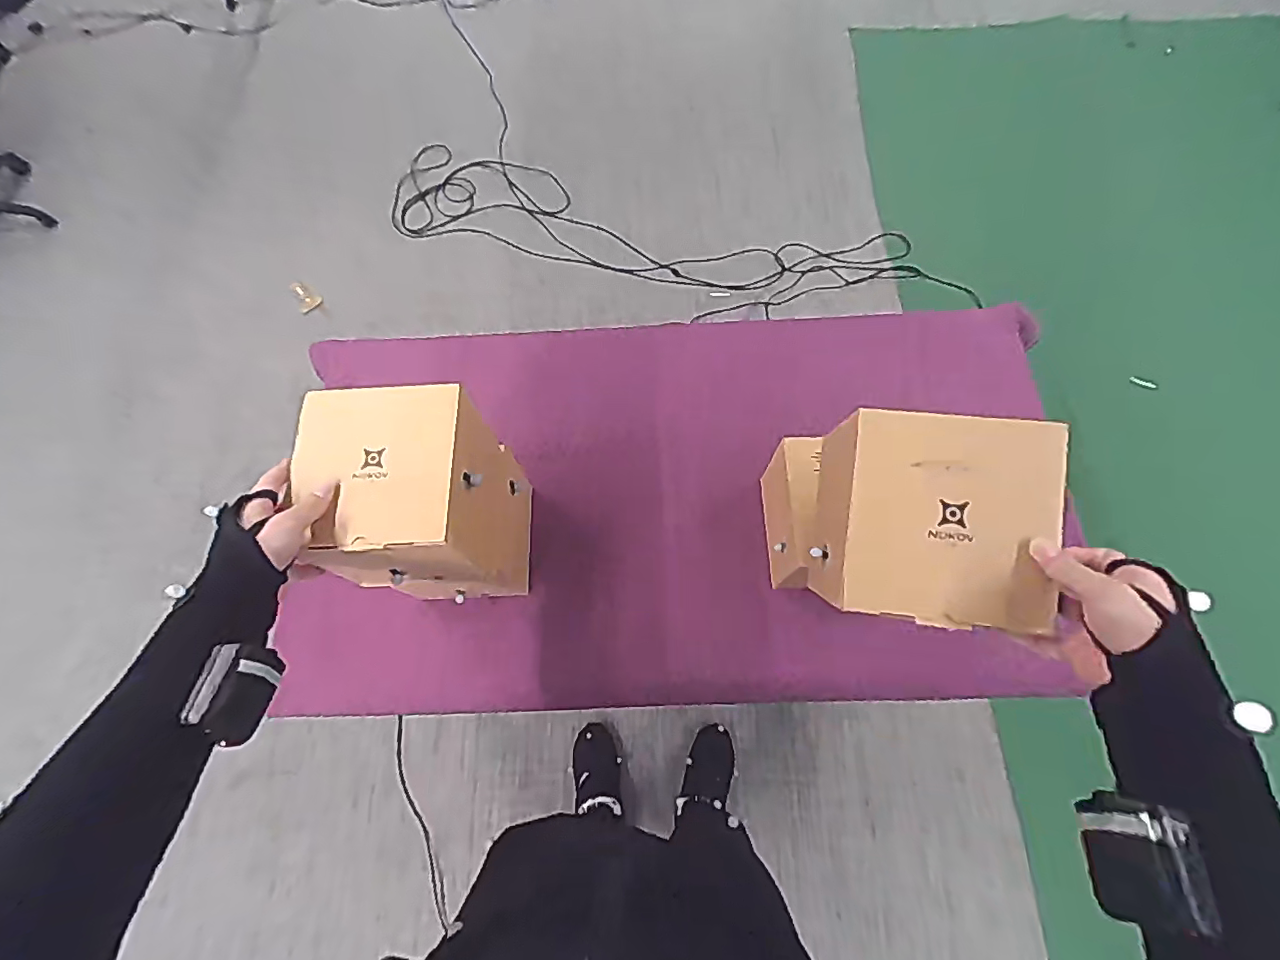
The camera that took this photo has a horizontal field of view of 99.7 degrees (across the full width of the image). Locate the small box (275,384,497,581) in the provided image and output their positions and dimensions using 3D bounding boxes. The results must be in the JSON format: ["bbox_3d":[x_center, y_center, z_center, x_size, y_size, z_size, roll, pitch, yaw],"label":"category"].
[{"bbox_3d":[-0.268,0.010,0.619,0.168,0.176,0.179,-3,69,1],"label":"small box"}]

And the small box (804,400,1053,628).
[{"bbox_3d":[0.261,0.031,0.530,0.168,0.176,0.179,6,86,9],"label":"small box"}]

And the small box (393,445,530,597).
[{"bbox_3d":[-0.259,0.064,0.773,0.168,0.176,0.179,-3,69,2],"label":"small box"}]
